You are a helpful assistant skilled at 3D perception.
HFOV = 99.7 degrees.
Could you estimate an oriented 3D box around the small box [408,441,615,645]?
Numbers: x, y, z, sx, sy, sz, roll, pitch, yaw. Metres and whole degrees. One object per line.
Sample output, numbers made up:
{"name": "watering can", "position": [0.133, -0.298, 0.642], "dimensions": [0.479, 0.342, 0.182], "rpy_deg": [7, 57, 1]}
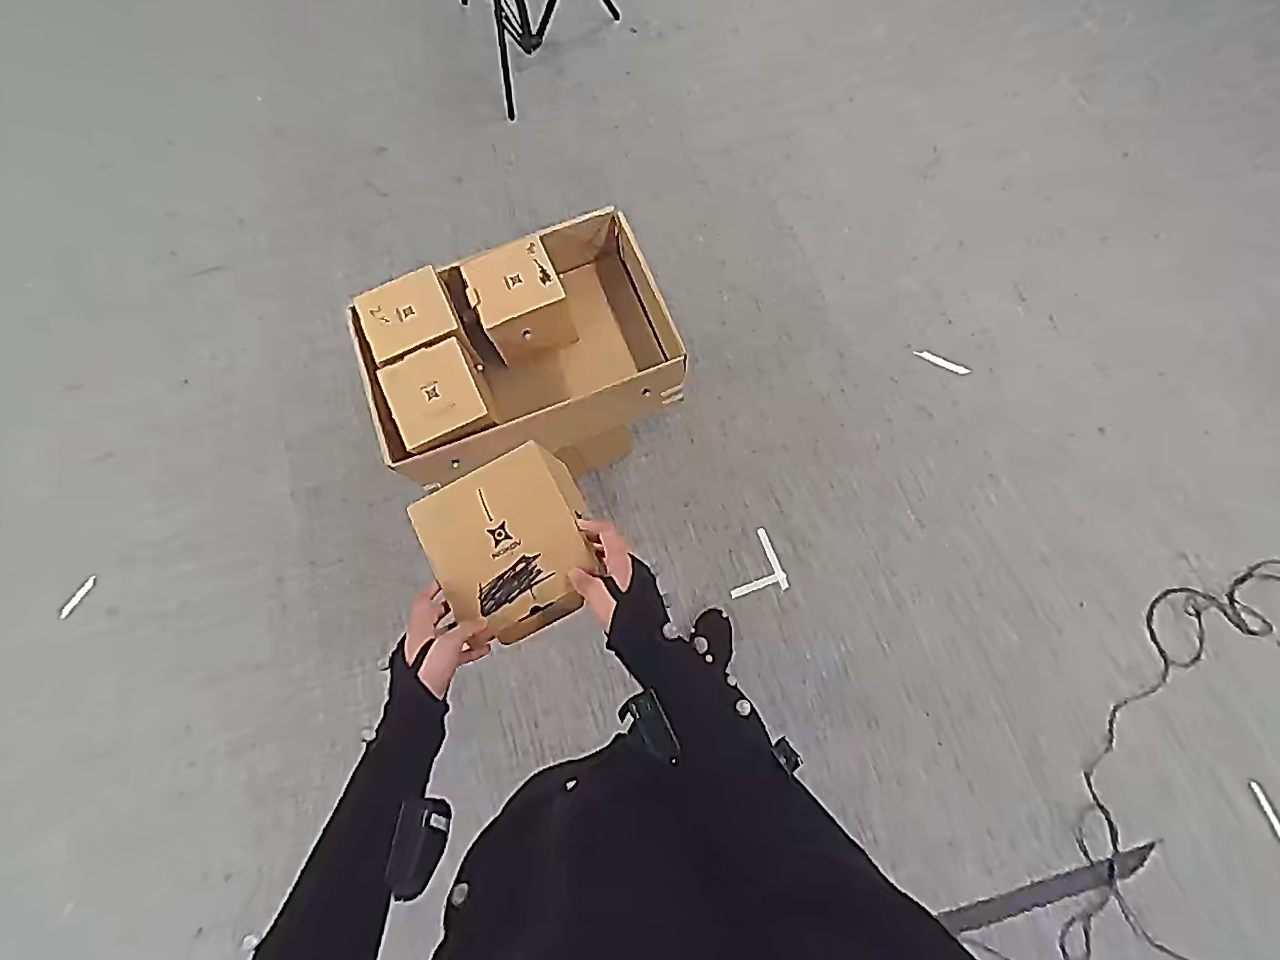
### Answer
{"name": "small box", "position": [-0.144, 0.078, 0.672], "dimensions": [0.168, 0.176, 0.179], "rpy_deg": [-29, 80, 0]}
